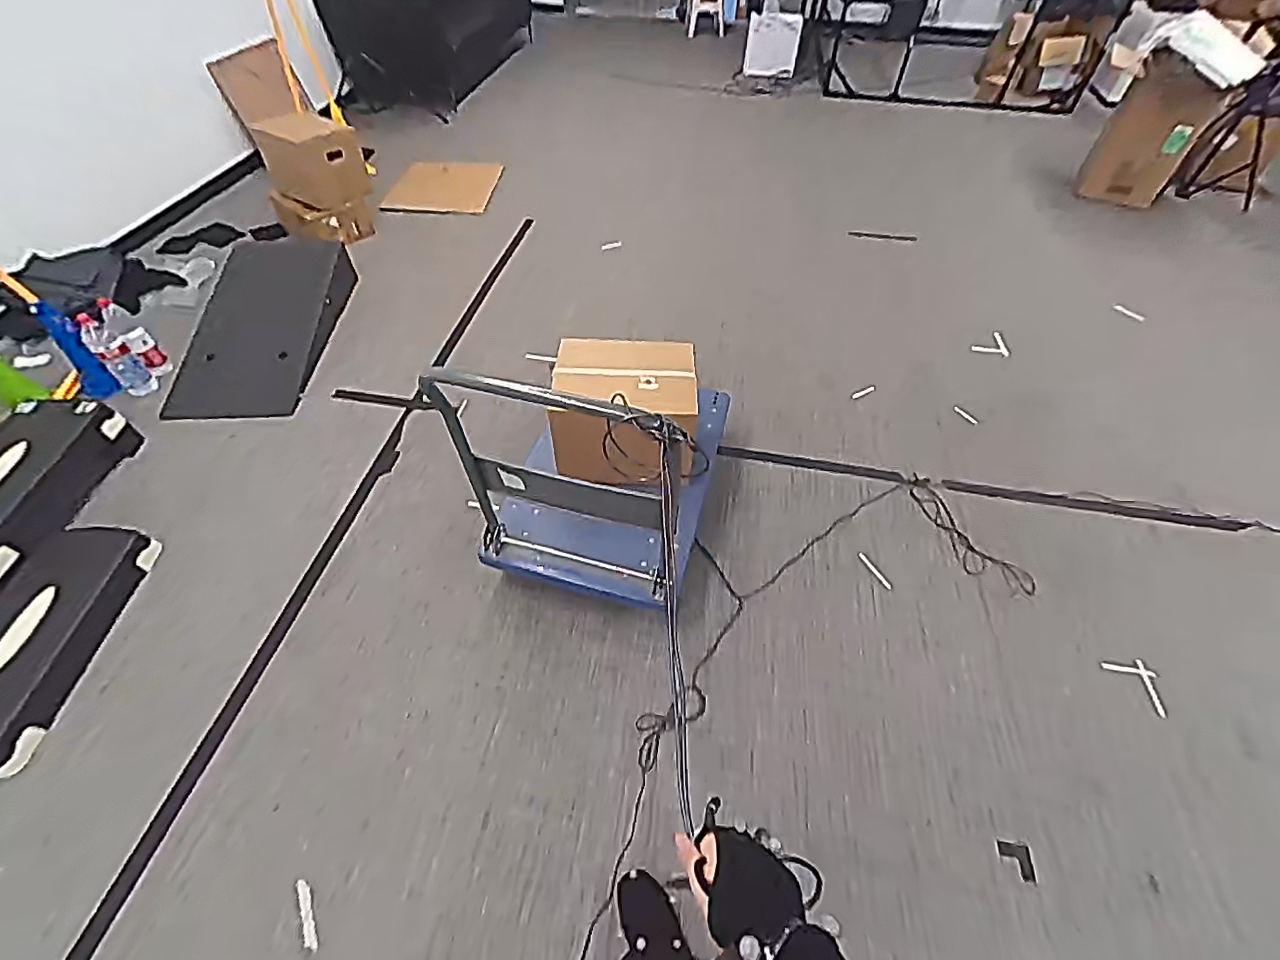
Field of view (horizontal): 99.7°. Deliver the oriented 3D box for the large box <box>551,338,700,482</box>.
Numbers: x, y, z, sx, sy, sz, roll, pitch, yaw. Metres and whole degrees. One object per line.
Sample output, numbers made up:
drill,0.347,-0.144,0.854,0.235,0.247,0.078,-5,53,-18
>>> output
large box,-0.043,-0.205,1.636,0.408,0.320,0.320,3,52,0
